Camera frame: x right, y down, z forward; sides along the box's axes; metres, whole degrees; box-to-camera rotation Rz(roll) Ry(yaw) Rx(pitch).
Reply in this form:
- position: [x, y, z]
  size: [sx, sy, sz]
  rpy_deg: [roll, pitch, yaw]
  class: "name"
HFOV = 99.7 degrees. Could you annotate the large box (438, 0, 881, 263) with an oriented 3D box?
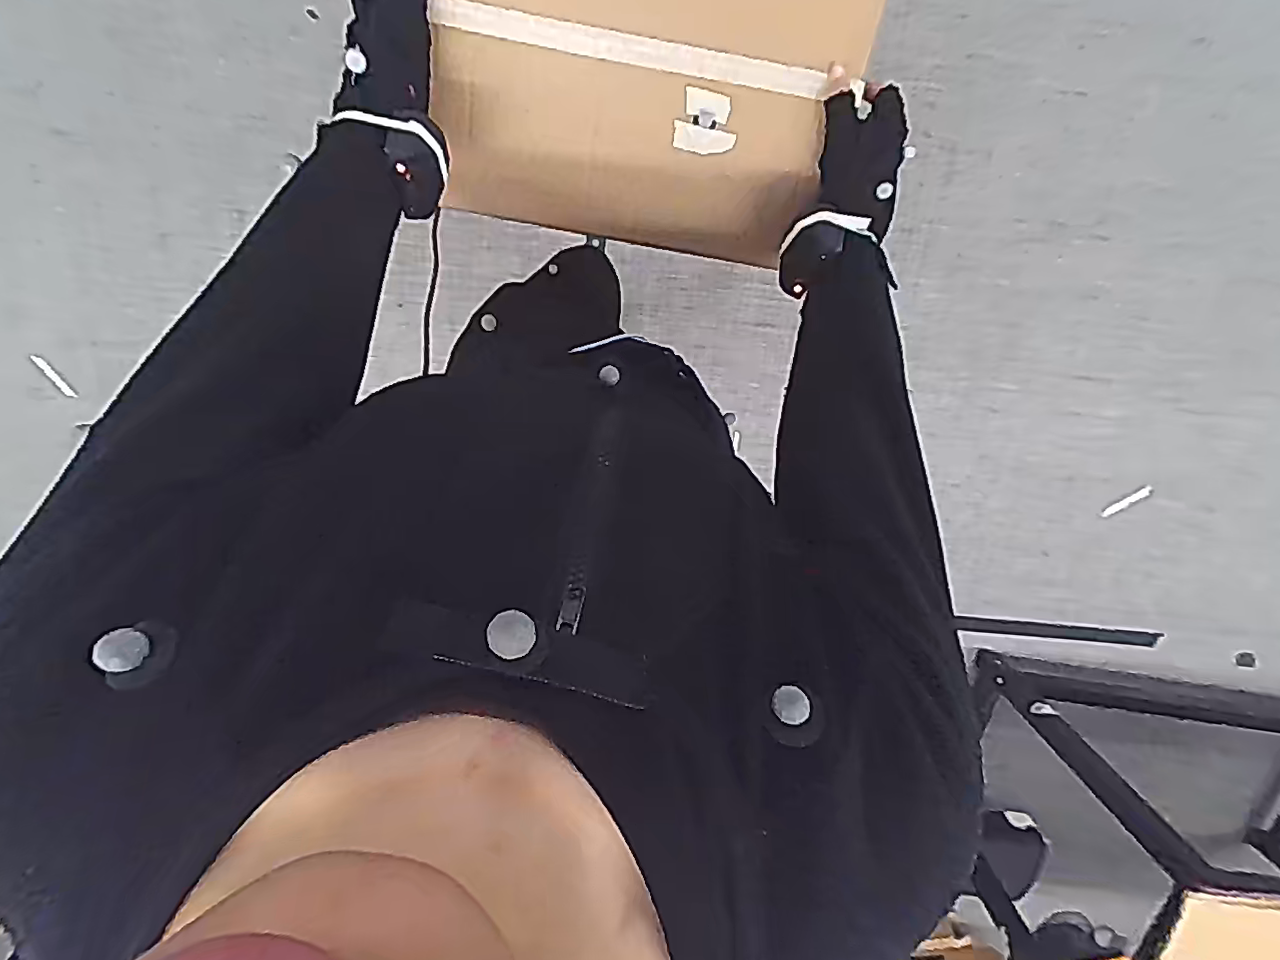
- position: [0.010, -0.456, 0.641]
  size: [0.408, 0.320, 0.320]
  rpy_deg: [9, 115, -4]
  class: "large box"
